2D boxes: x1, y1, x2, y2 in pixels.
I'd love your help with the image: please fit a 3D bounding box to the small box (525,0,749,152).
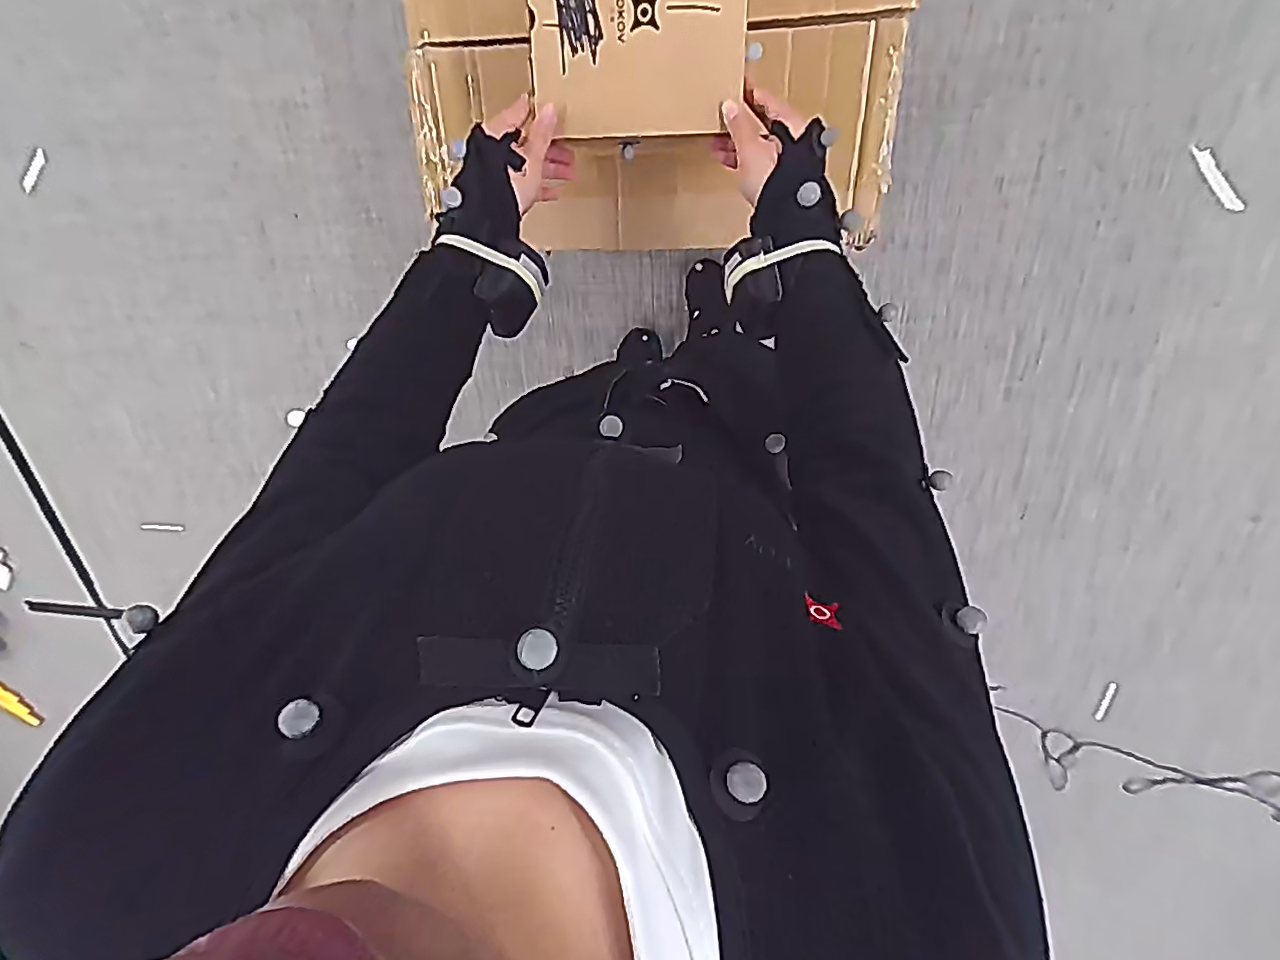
[{"bbox_3d":[0.006,-0.398,0.484,0.179,0.176,0.168,3,117,7],"label":"small box"}]
